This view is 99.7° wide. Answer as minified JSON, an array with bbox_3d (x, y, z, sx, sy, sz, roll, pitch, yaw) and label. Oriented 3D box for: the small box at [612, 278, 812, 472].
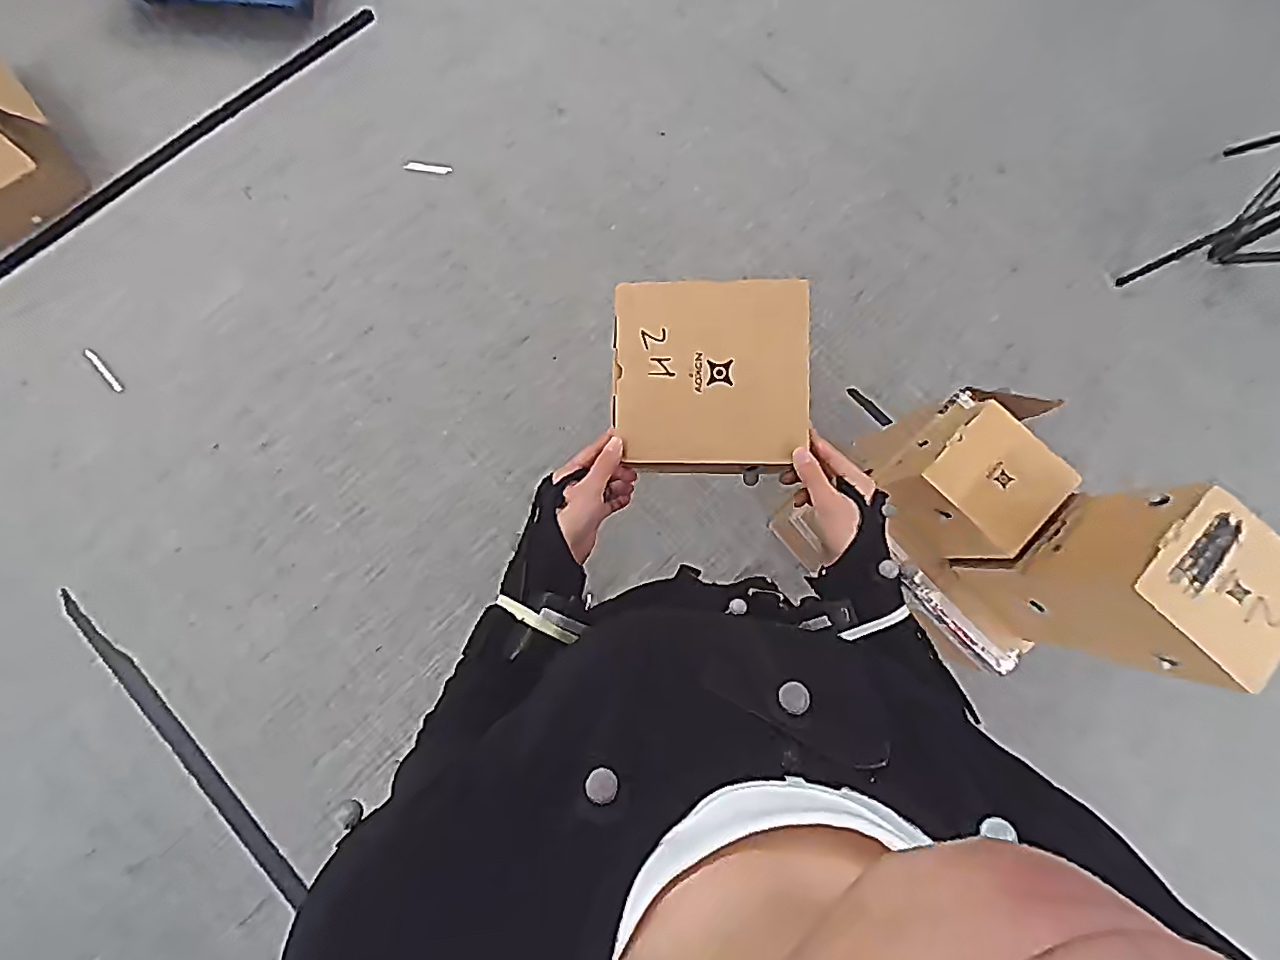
[{"bbox_3d":[0.070,-0.097,0.561,0.179,0.176,0.168,1,87,6],"label":"small box"}]
